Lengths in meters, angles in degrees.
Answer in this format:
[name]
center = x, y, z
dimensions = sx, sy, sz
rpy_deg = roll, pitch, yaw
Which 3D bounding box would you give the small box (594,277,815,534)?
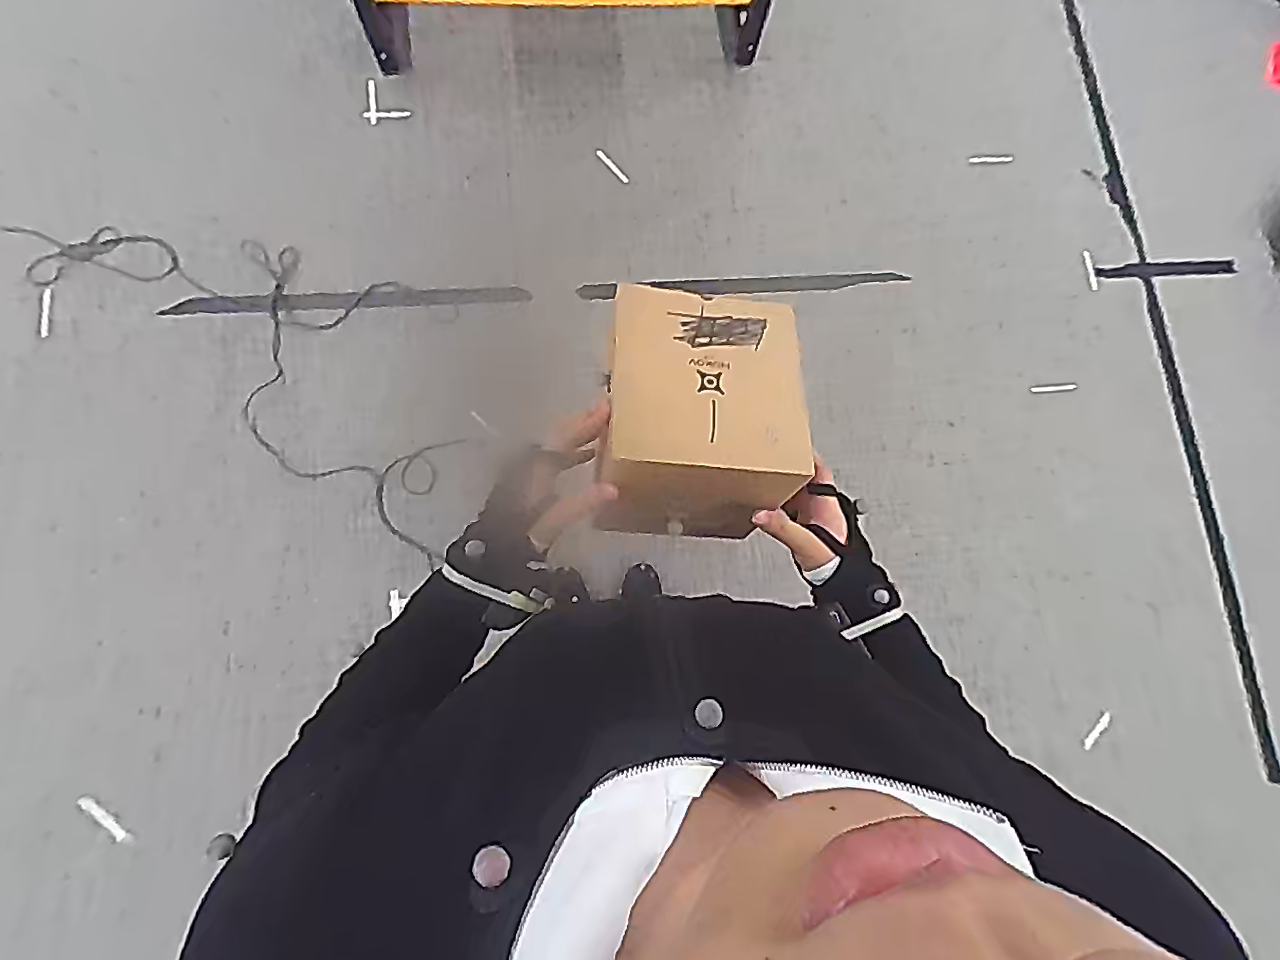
[small box]
center = 0.046, -0.061, 0.522
dimensions = 0.168, 0.176, 0.179
rpy_deg = 4, 66, -8
